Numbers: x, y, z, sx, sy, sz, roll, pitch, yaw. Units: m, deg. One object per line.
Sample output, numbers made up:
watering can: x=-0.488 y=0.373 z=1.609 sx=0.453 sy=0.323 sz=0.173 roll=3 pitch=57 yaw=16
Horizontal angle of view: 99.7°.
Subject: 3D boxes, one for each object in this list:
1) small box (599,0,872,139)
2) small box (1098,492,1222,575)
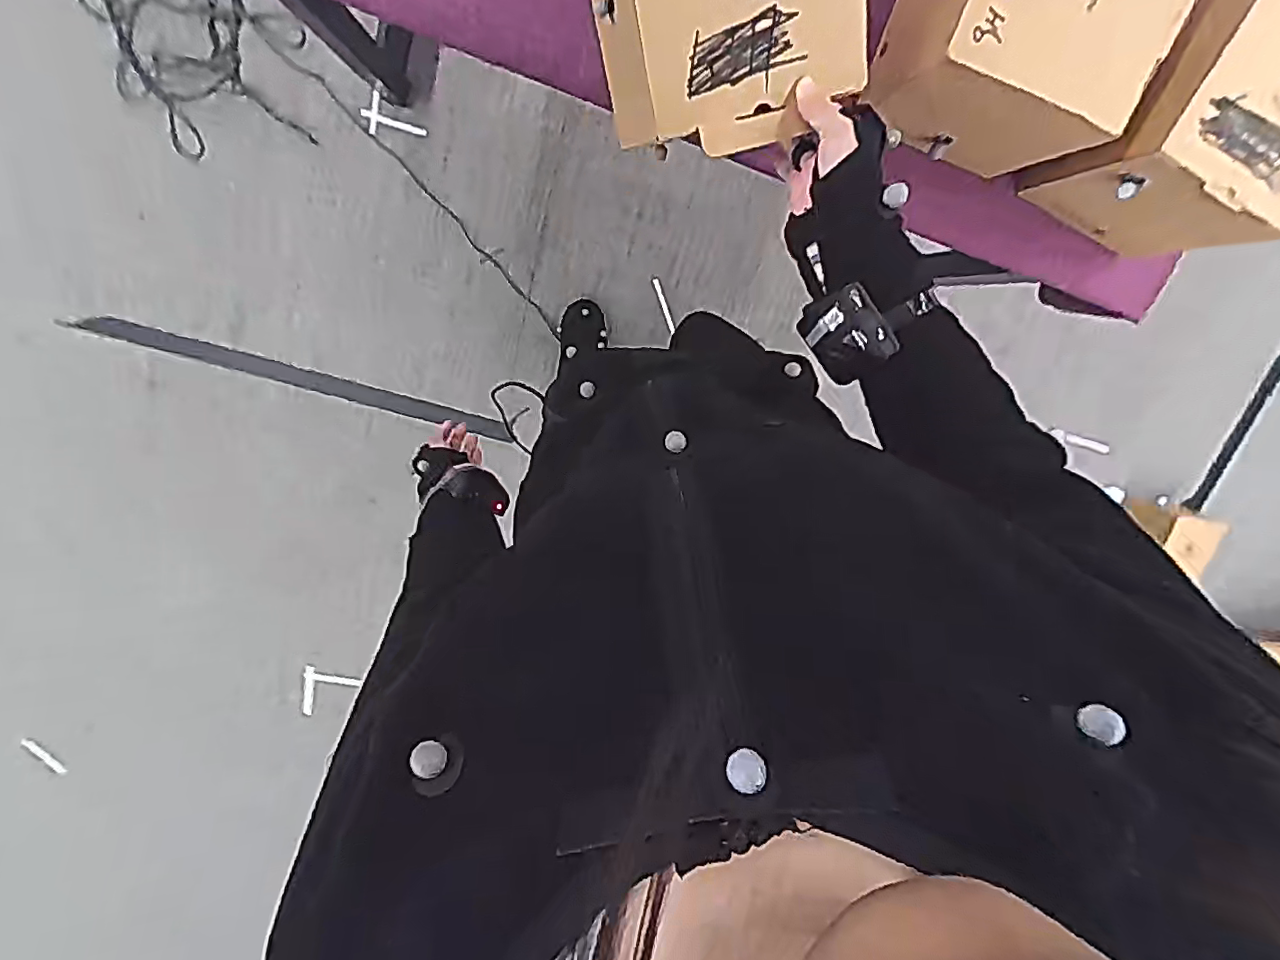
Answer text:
small box: x=0.062 y=-0.382 z=0.422 sx=0.168 sy=0.176 sz=0.179 roll=-16 pitch=120 yaw=-4
small box: x=1.488 y=0.150 z=1.564 sx=0.168 sy=0.176 sz=0.179 roll=8 pitch=107 yaw=-9
